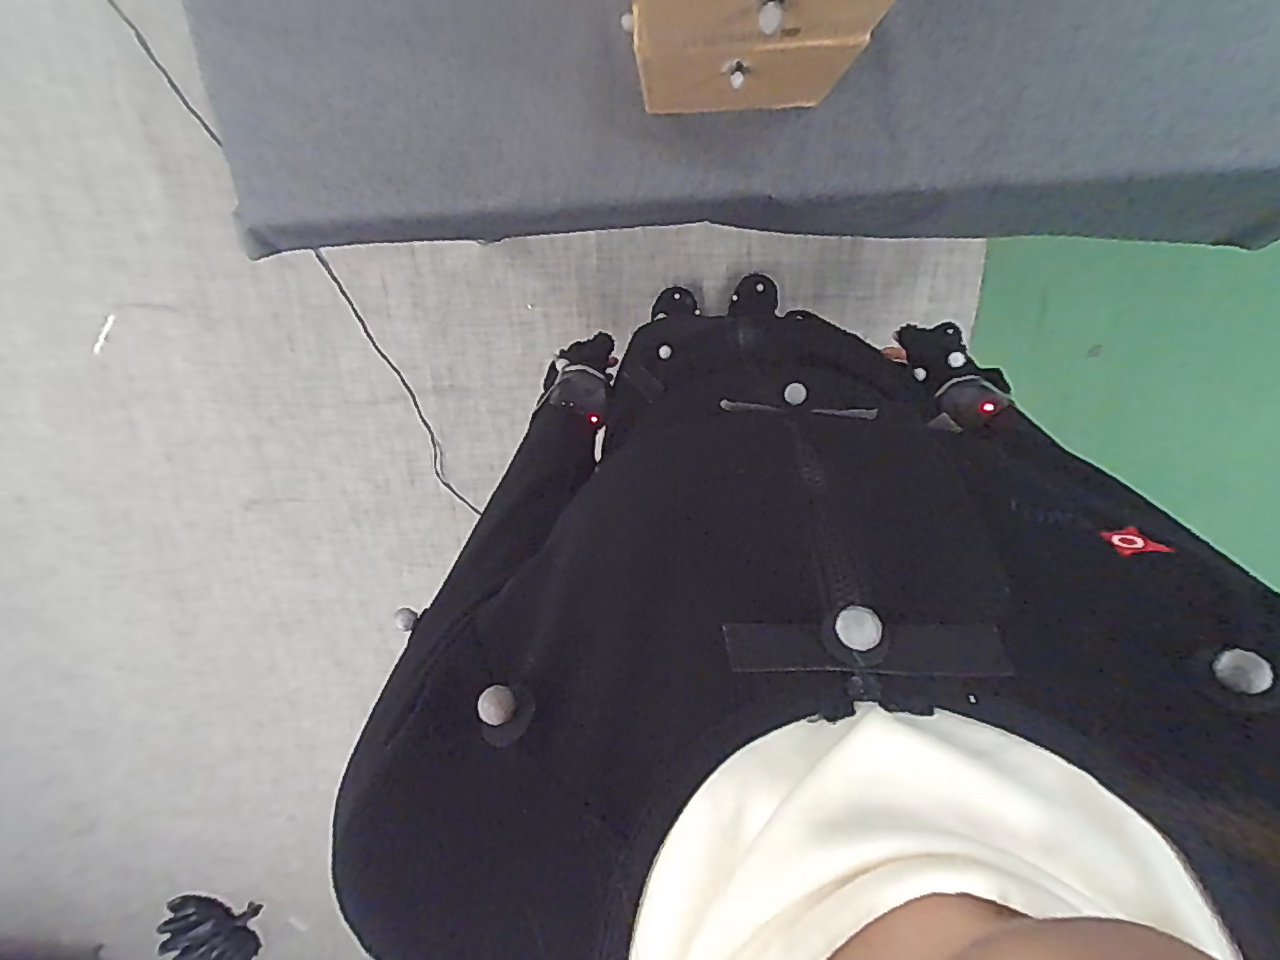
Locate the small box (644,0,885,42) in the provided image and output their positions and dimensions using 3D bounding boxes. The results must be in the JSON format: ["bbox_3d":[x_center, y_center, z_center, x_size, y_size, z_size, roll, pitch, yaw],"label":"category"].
[{"bbox_3d":[0.077,-0.374,0.297,0.168,0.176,0.179,-2,112,5],"label":"small box"}]

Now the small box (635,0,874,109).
[{"bbox_3d":[0.088,-0.428,0.451,0.179,0.176,0.168,0,111,3],"label":"small box"}]
